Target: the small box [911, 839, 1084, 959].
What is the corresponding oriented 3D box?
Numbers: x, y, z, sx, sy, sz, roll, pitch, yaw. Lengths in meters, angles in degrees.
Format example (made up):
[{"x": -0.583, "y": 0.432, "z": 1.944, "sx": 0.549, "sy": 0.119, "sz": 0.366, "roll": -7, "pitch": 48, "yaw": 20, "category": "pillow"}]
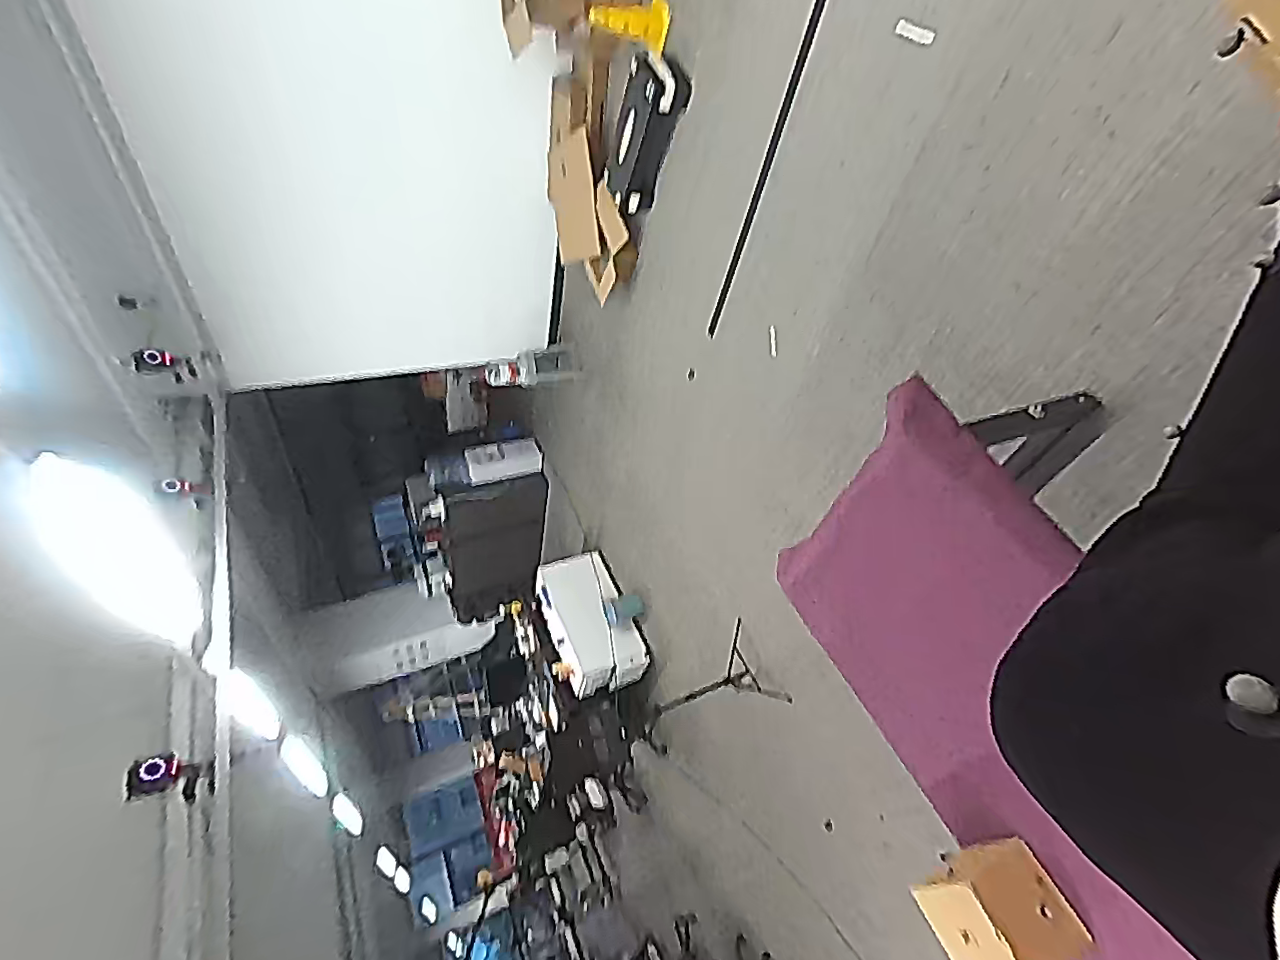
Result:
[{"x": 0.664, "y": 0.807, "z": 1.012, "sx": 0.168, "sy": 0.176, "sz": 0.179, "roll": 61, "pitch": 151, "yaw": 31, "category": "small box"}]
